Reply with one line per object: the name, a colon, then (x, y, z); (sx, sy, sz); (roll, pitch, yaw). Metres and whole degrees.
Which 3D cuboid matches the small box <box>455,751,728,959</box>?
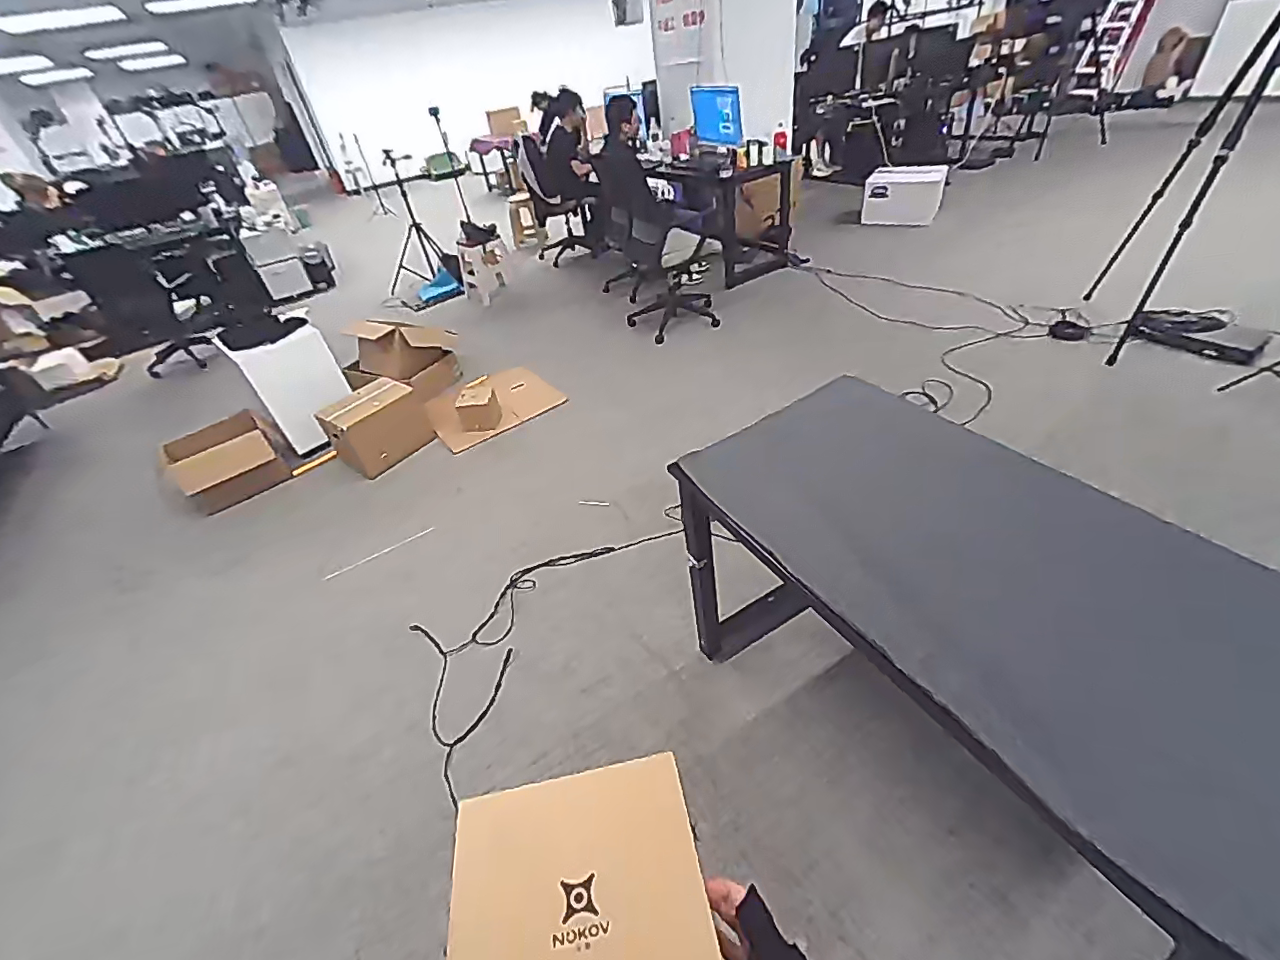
small box: (-0.029, 0.335, 0.393); (0.168, 0.176, 0.179); (-10, 39, -5)
